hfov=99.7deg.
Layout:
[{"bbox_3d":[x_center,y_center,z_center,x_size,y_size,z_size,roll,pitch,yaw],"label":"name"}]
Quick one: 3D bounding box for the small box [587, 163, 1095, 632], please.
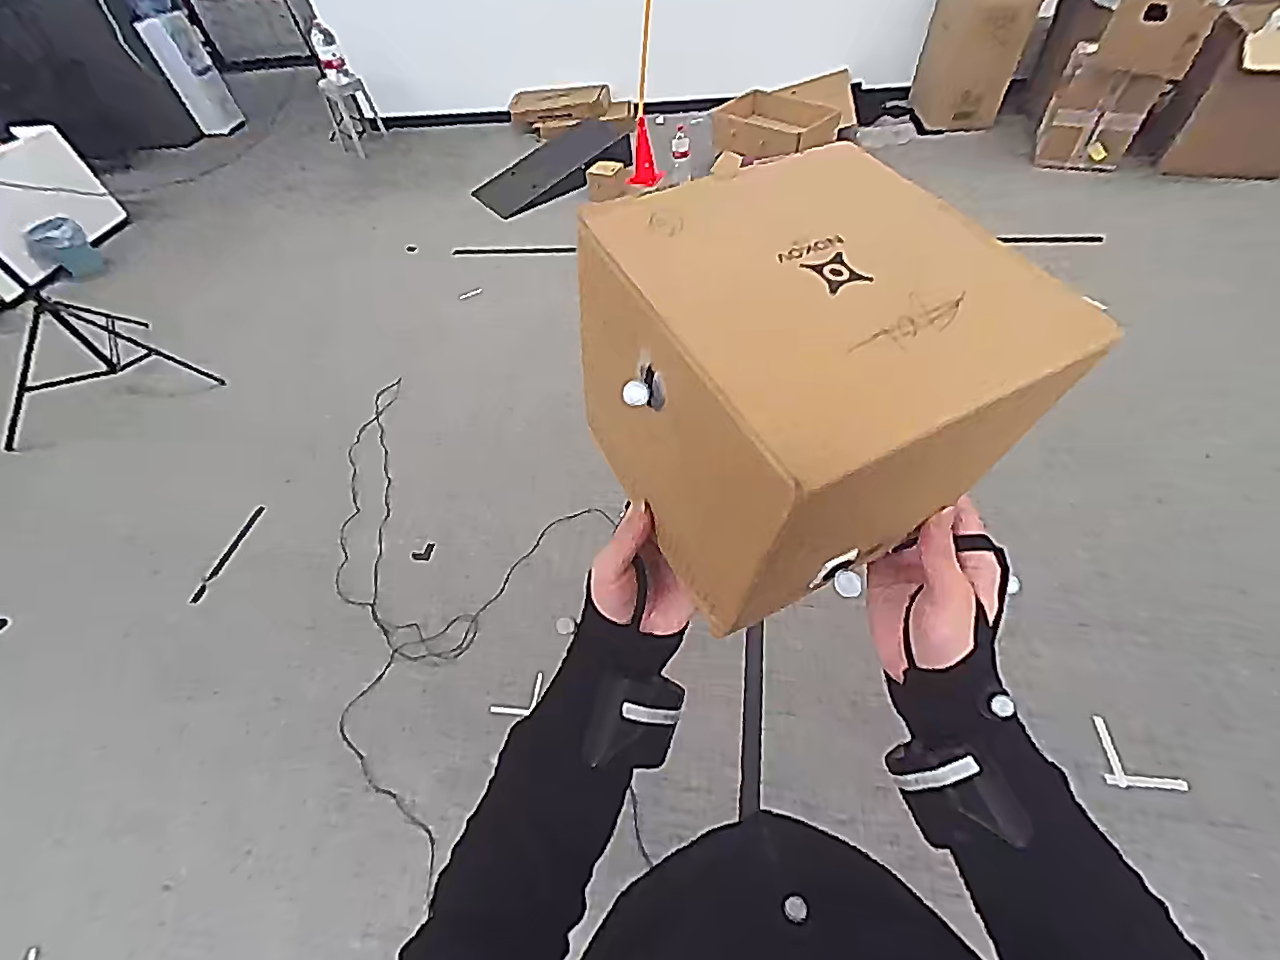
[{"bbox_3d":[0.079,-0.042,0.312,0.168,0.176,0.179,-24,62,-16],"label":"small box"}]
